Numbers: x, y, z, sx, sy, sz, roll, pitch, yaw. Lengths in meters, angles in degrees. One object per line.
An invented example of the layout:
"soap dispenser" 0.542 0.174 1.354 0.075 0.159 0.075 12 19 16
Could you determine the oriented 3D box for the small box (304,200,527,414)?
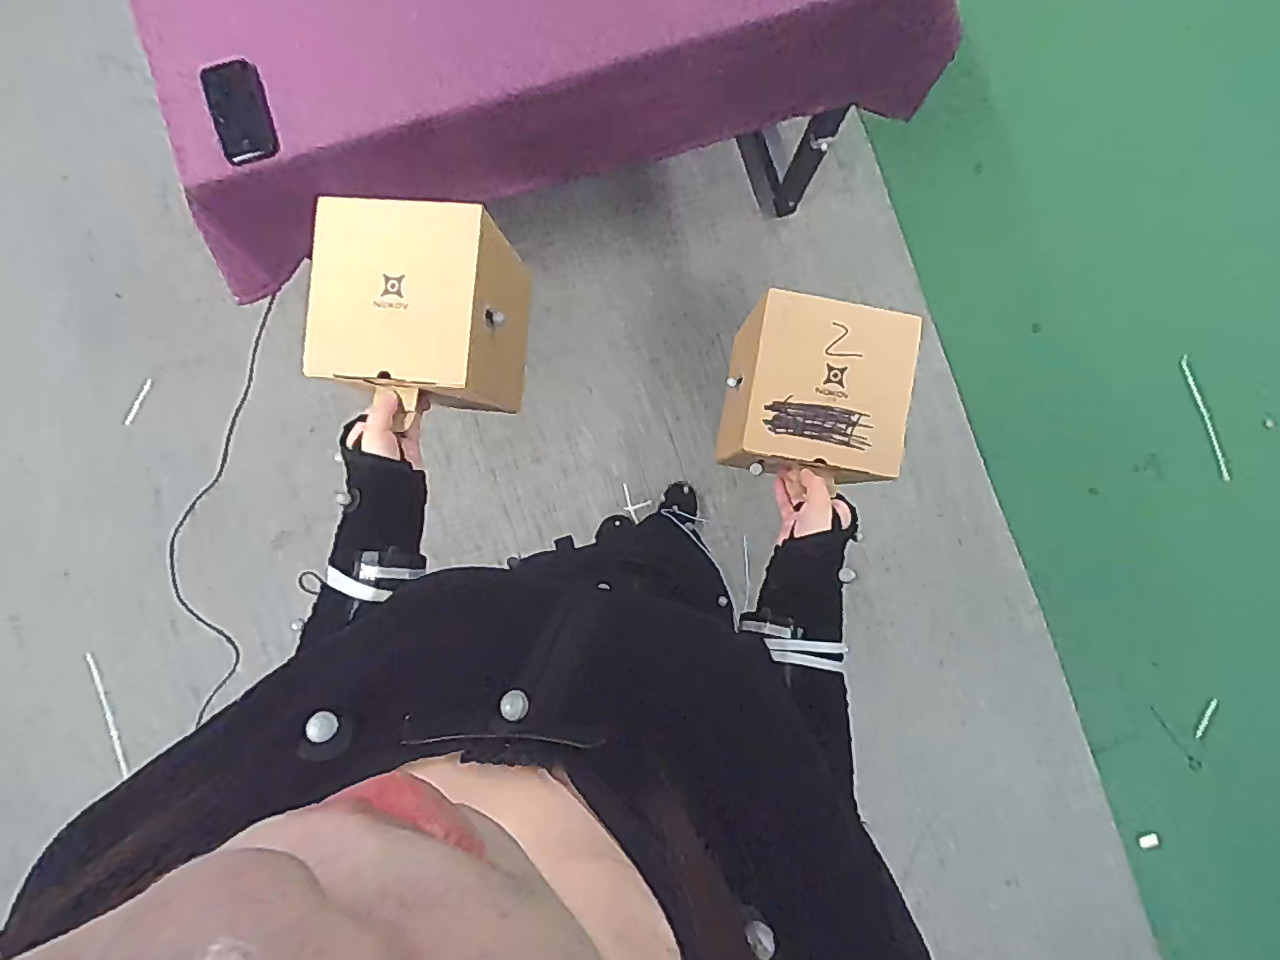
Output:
"small box" -0.229 -0.176 0.596 0.168 0.176 0.179 5 90 4
